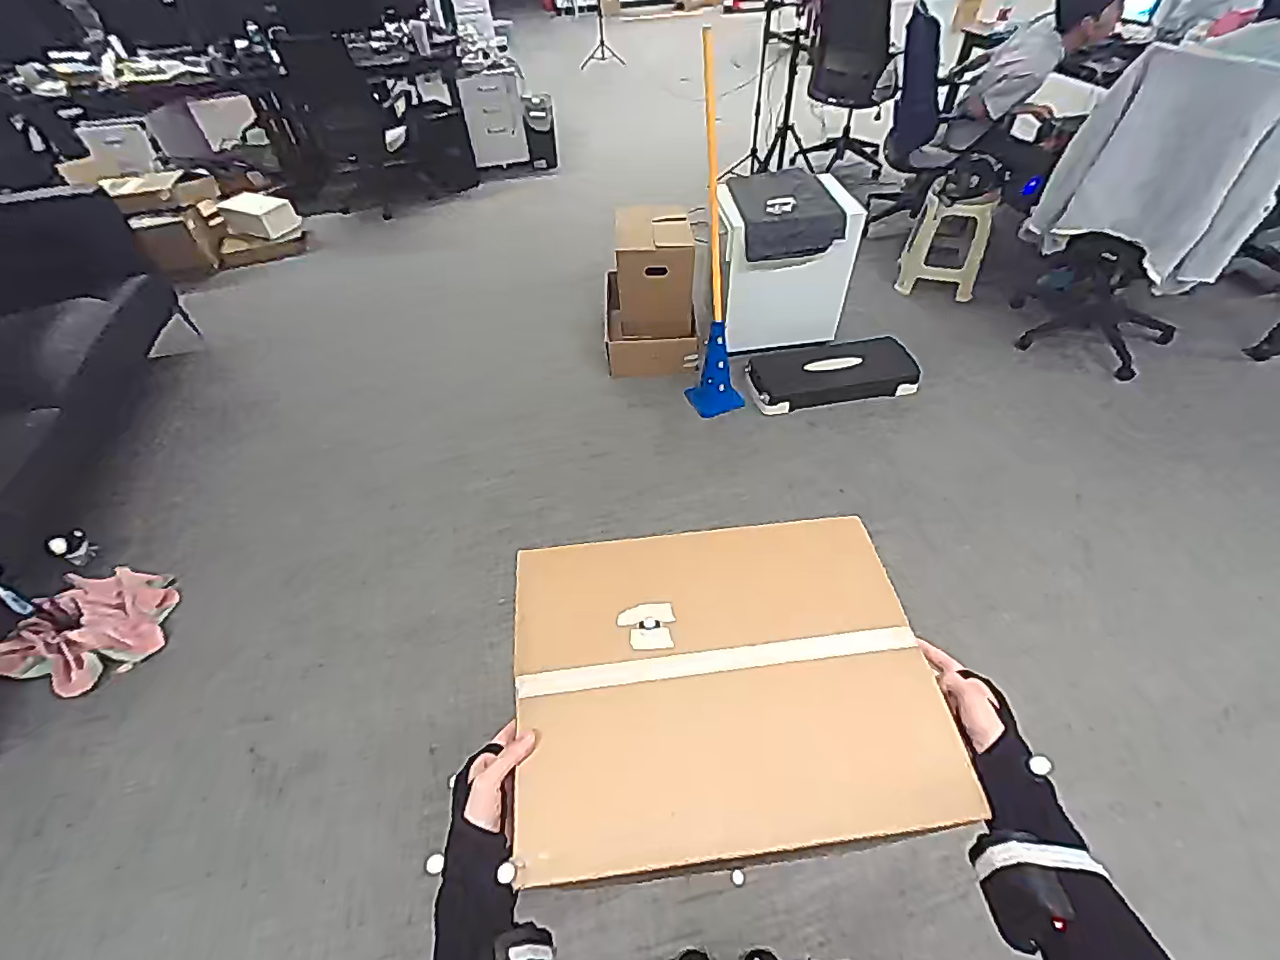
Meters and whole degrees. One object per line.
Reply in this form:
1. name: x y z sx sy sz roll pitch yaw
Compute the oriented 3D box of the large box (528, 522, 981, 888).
1. large box: 0.092 0.284 0.668 0.408 0.320 0.320 -7 51 -3
